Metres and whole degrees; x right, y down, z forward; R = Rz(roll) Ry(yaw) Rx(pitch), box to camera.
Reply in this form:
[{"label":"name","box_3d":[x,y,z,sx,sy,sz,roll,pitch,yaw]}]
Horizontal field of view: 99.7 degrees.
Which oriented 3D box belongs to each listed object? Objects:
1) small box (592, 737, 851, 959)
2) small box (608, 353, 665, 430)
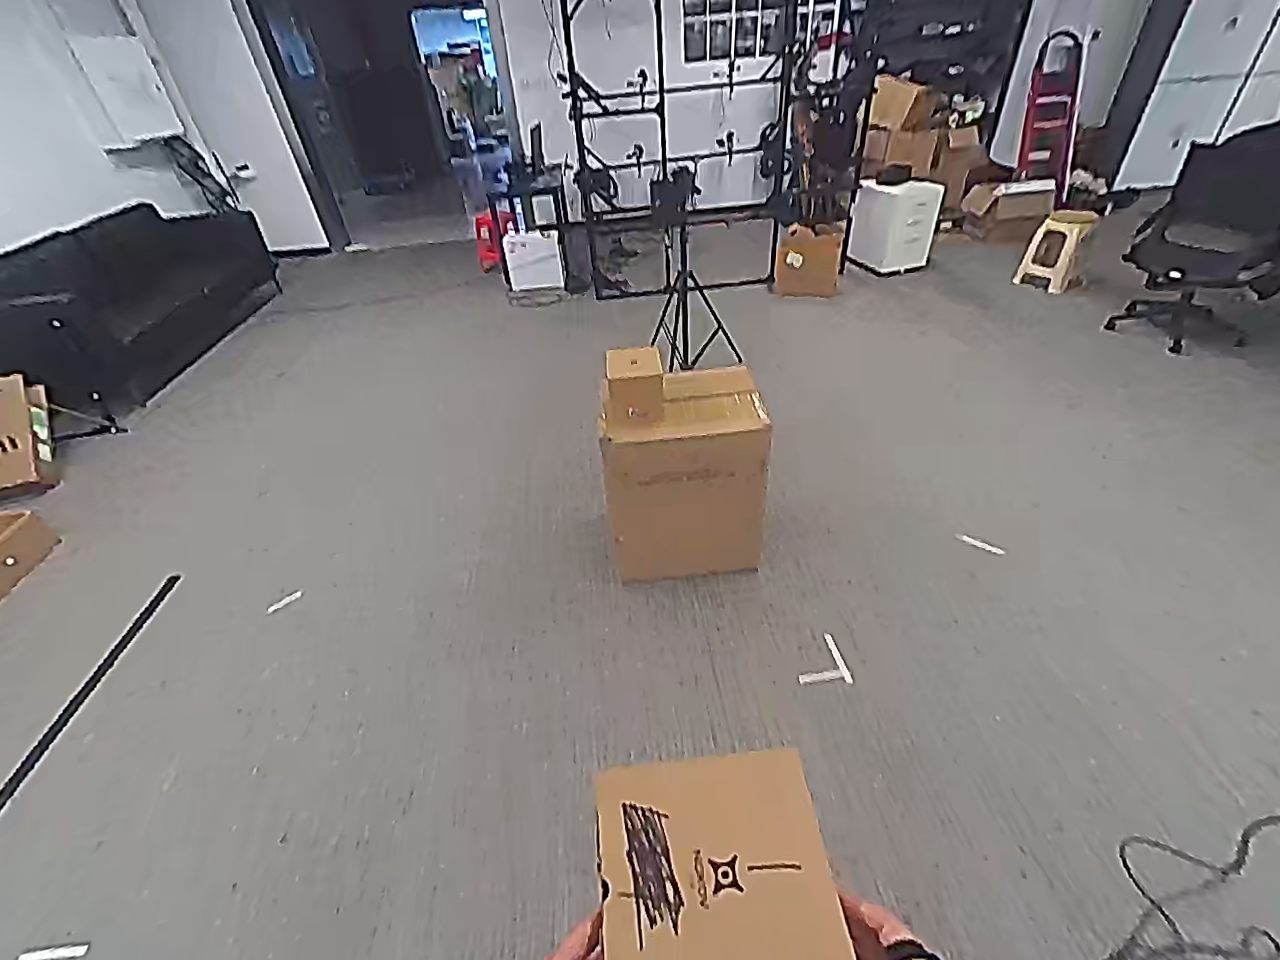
[{"label":"small box","box_3d":[0.058,0.348,0.470,0.179,0.176,0.168,-7,45,-2]},{"label":"small box","box_3d":[-0.012,-0.277,1.691,0.168,0.176,0.179,-6,41,-1]}]
